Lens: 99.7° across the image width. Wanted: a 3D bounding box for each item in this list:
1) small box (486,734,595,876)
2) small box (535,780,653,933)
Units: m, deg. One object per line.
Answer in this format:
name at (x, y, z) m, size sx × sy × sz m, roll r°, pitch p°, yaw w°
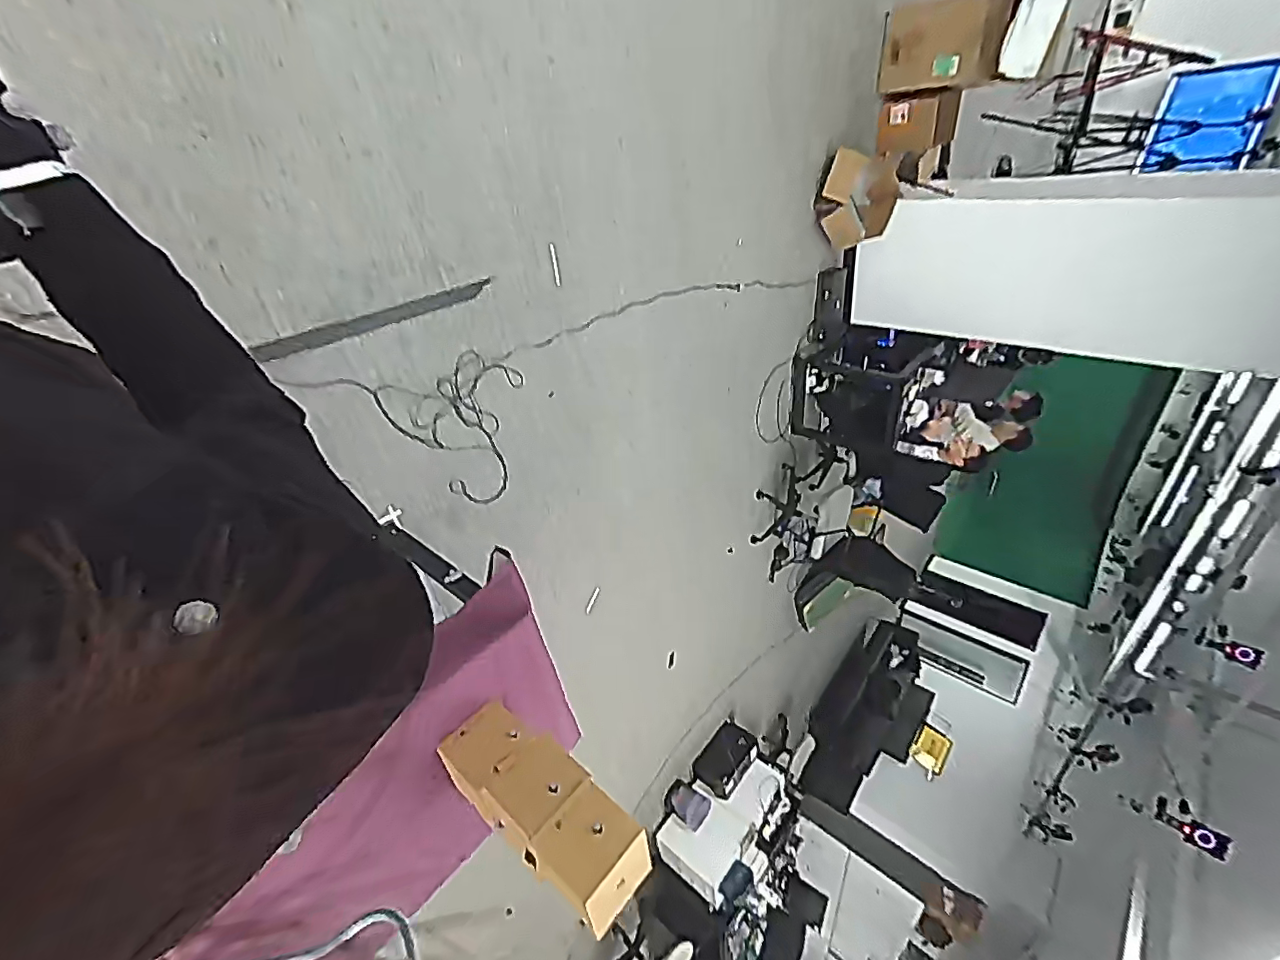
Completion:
small box at (-0.215, 0.712, 1.206) m, size 0.179 × 0.176 × 0.168 m, roll -29°, pitch 128°, yaw -41°
small box at (-0.094, 0.757, 1.107) m, size 0.168 × 0.176 × 0.179 m, roll -36°, pitch 133°, yaw -36°
